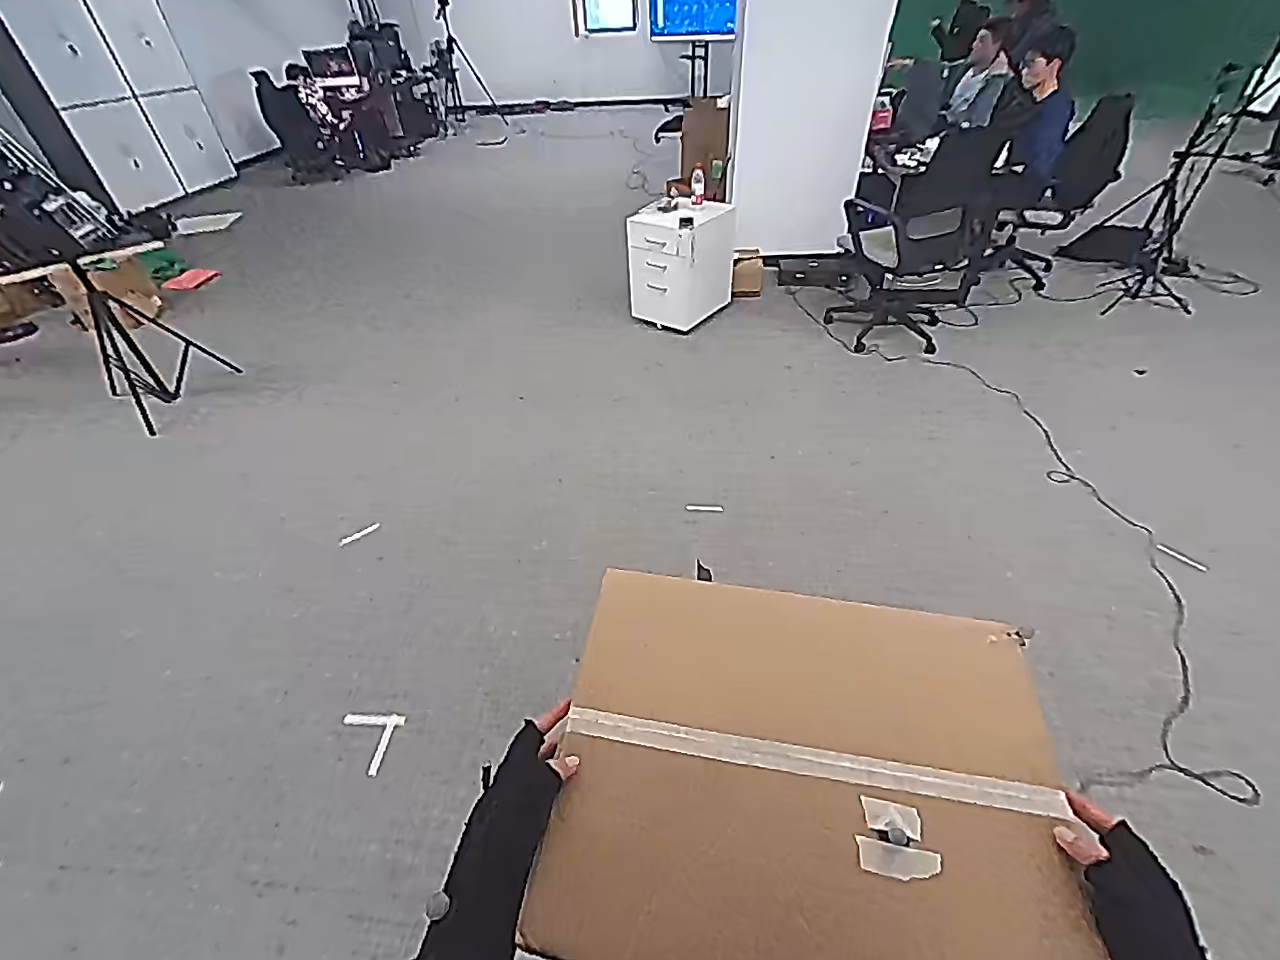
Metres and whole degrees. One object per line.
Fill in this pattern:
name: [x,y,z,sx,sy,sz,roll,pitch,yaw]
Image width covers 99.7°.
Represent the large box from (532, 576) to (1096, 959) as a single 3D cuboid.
large box: [0.140,0.333,0.576,0.408,0.320,0.320,7,51,8]
